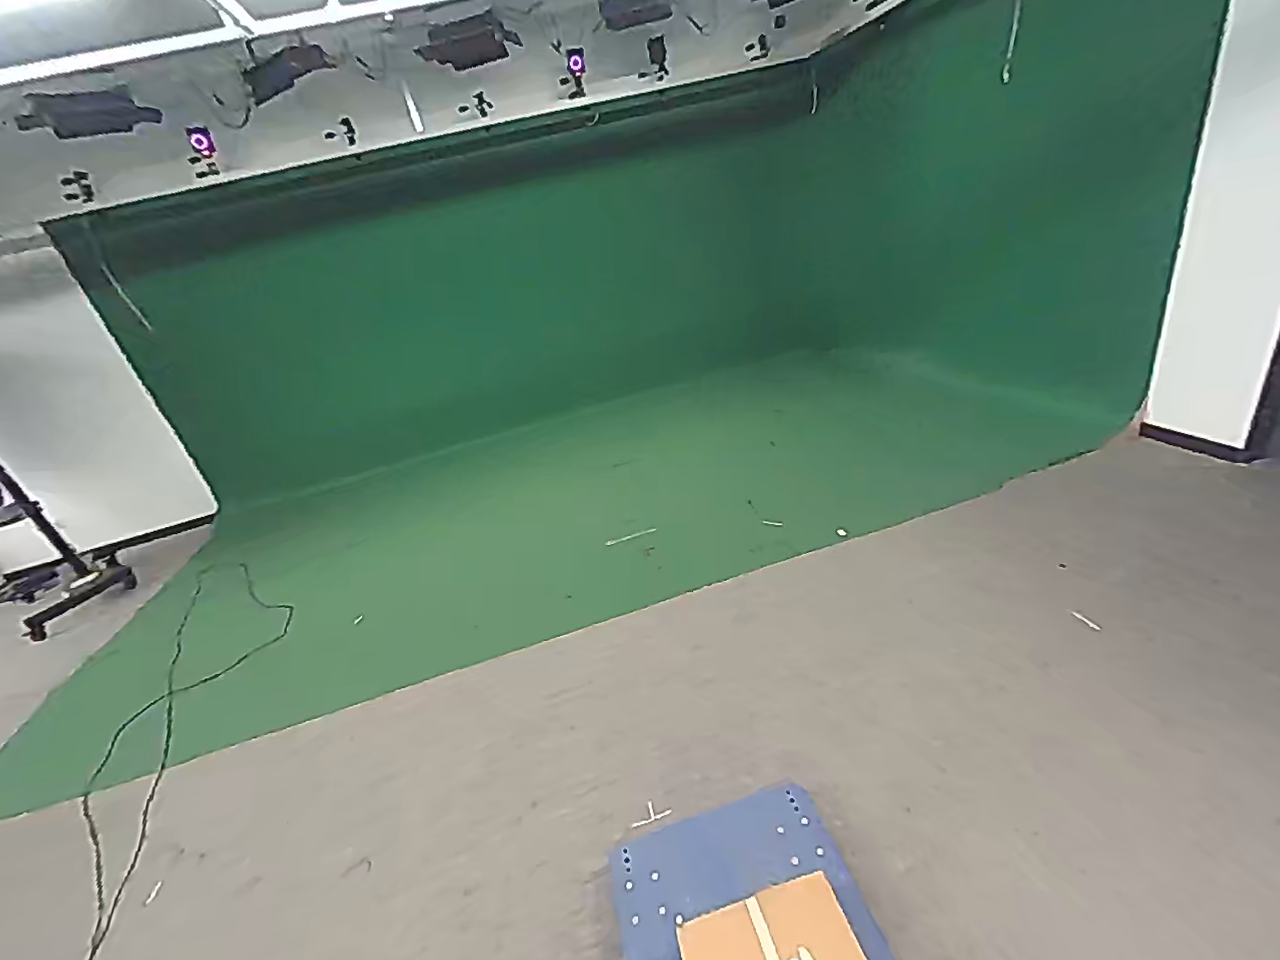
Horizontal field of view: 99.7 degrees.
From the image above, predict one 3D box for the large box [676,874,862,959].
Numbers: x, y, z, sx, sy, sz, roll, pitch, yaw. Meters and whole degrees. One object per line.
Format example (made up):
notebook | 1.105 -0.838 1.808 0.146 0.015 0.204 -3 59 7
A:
large box | 0.290 1.039 0.955 0.320 0.320 0.408 -16 25 -6
